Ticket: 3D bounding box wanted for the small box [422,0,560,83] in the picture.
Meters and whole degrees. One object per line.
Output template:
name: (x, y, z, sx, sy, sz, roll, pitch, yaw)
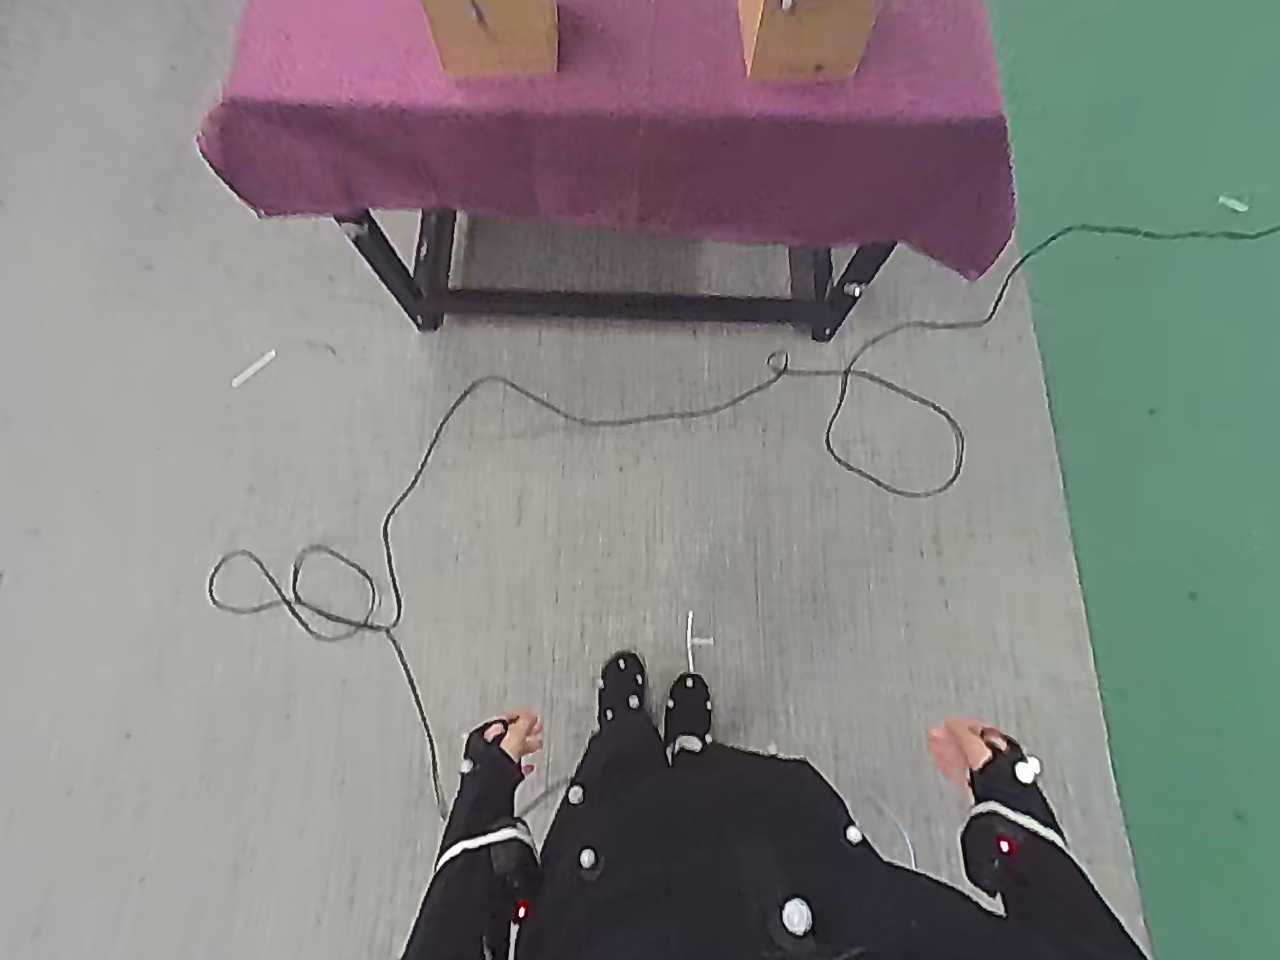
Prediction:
small box: (-0.219, -0.721, 0.794, 0.179, 0.176, 0.168, -2, 76, 0)
